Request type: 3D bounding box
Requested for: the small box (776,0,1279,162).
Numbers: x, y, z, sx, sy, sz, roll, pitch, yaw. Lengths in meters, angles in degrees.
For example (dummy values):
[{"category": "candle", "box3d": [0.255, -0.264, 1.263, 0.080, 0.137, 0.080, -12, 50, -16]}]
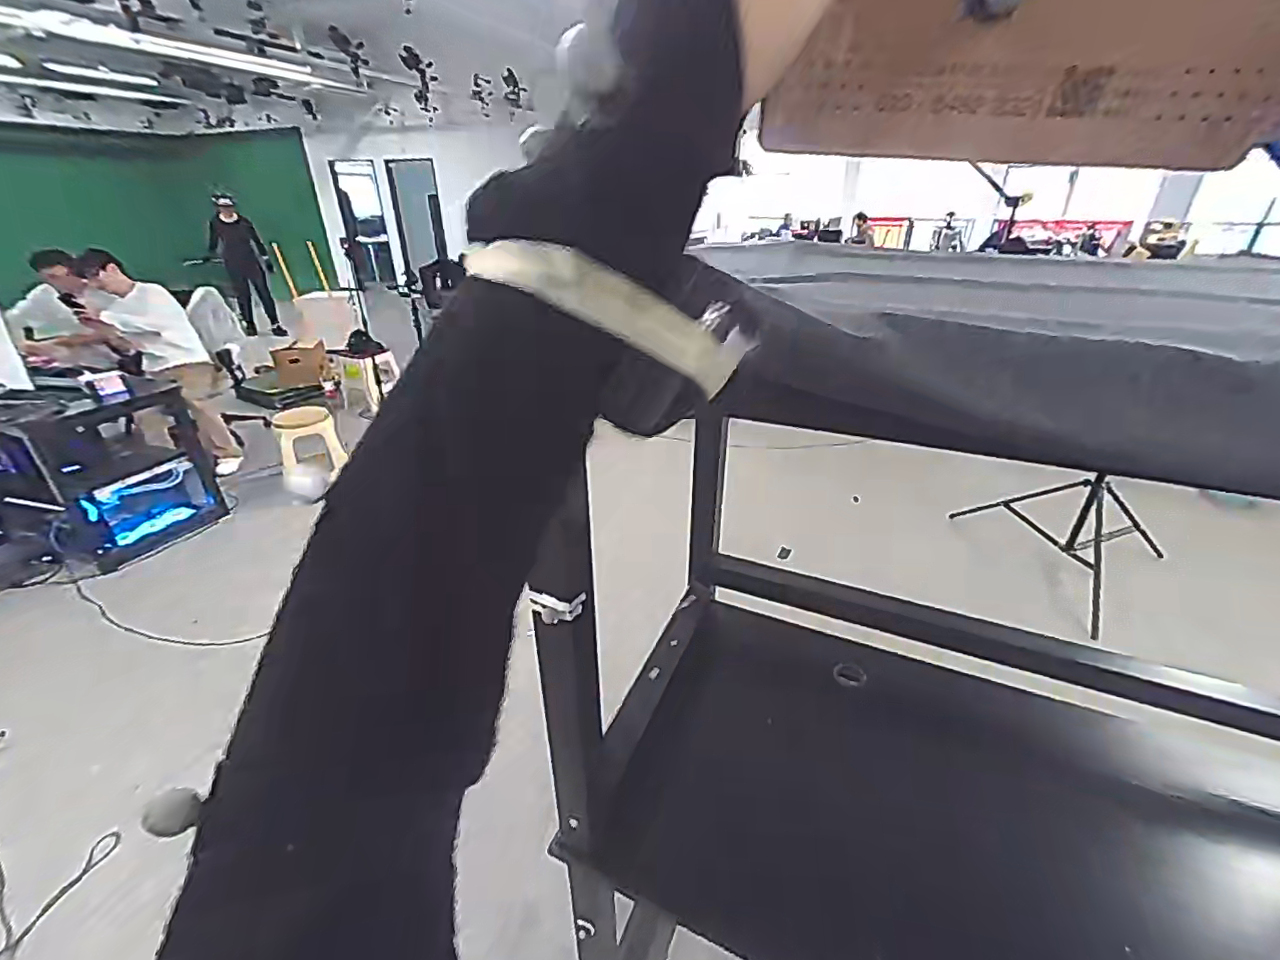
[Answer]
[{"category": "small box", "box3d": [0.145, -0.238, 0.180, 0.168, 0.176, 0.179, 10, 58, 11]}]
